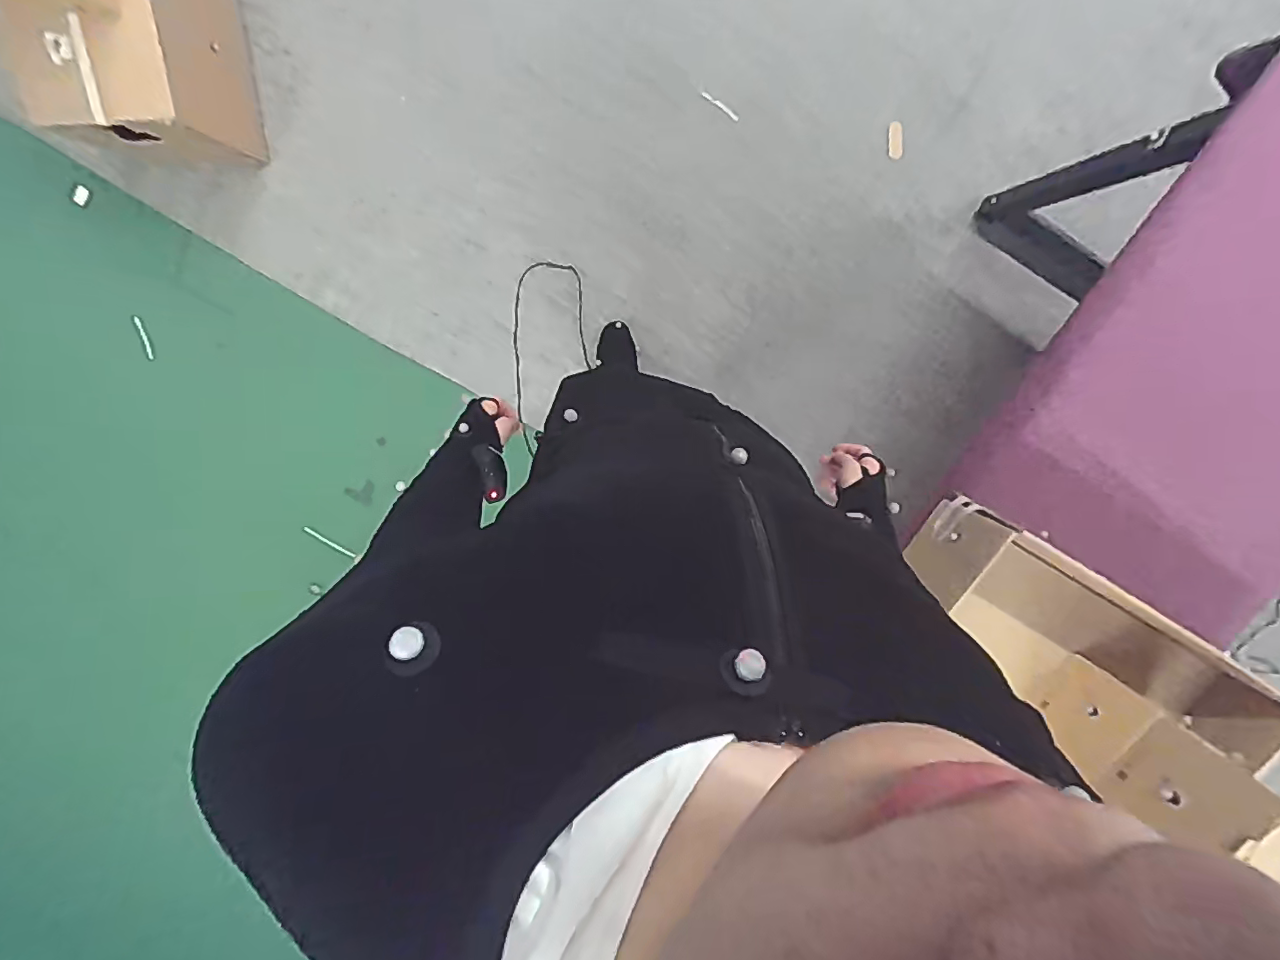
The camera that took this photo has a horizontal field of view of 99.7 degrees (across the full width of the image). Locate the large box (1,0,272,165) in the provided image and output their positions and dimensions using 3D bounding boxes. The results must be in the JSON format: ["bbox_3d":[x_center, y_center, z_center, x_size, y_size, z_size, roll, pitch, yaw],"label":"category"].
[{"bbox_3d":[-1.121,-0.982,1.224,0.320,0.320,0.408,-2,107,1],"label":"large box"}]

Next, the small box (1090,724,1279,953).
[{"bbox_3d":[0.786,0.470,0.736,0.179,0.176,0.168,33,101,-8],"label":"small box"}]

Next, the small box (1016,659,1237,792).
[{"bbox_3d":[0.783,0.428,0.895,0.179,0.176,0.168,32,101,-8],"label":"small box"}]
